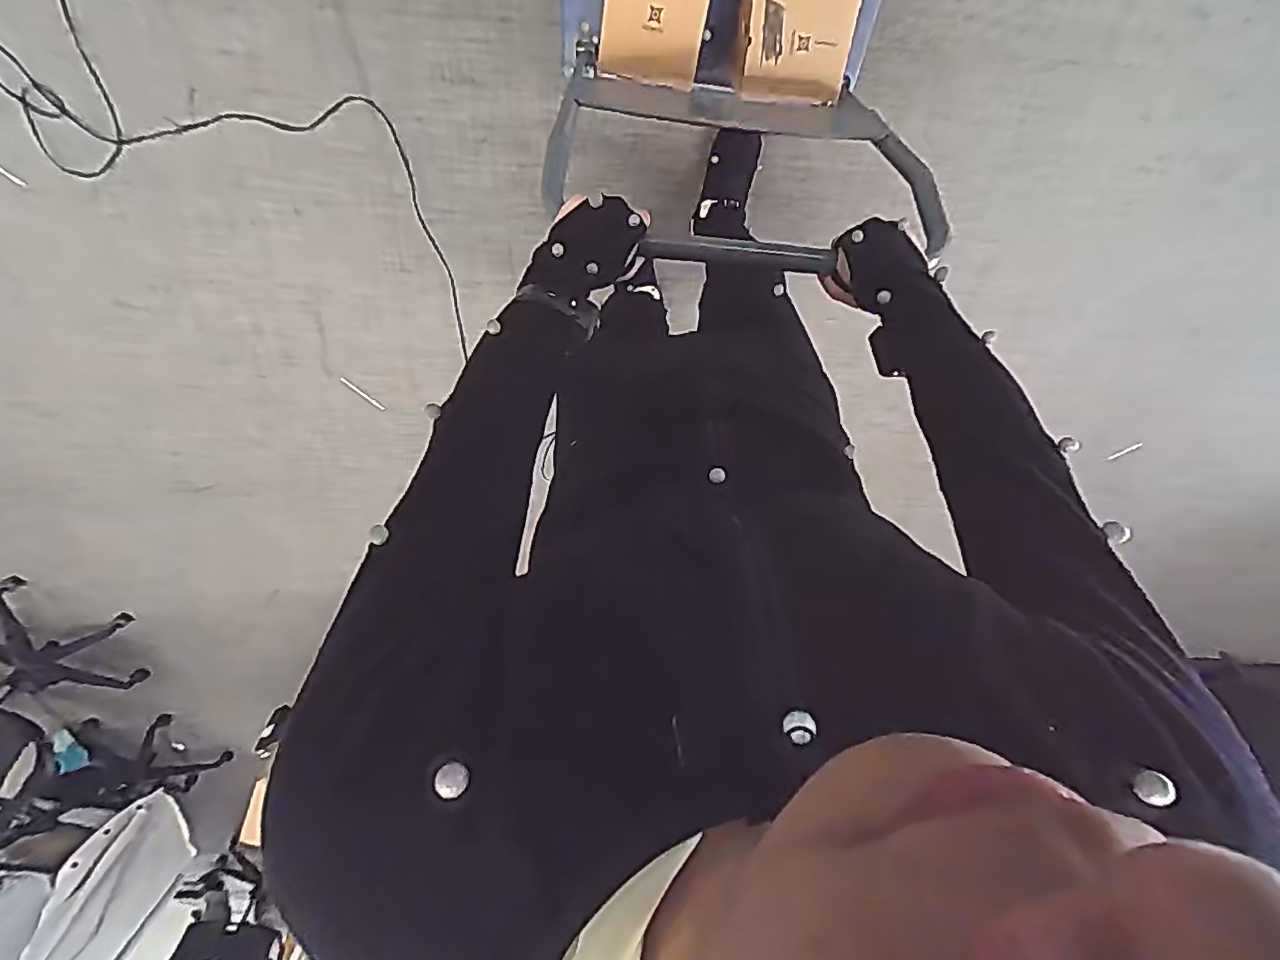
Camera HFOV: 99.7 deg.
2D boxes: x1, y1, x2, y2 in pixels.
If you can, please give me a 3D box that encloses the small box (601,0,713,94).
[{"bbox_3d":[0.027,-0.797,0.925,0.168,0.176,0.179,7,135,-8],"label":"small box"}]
